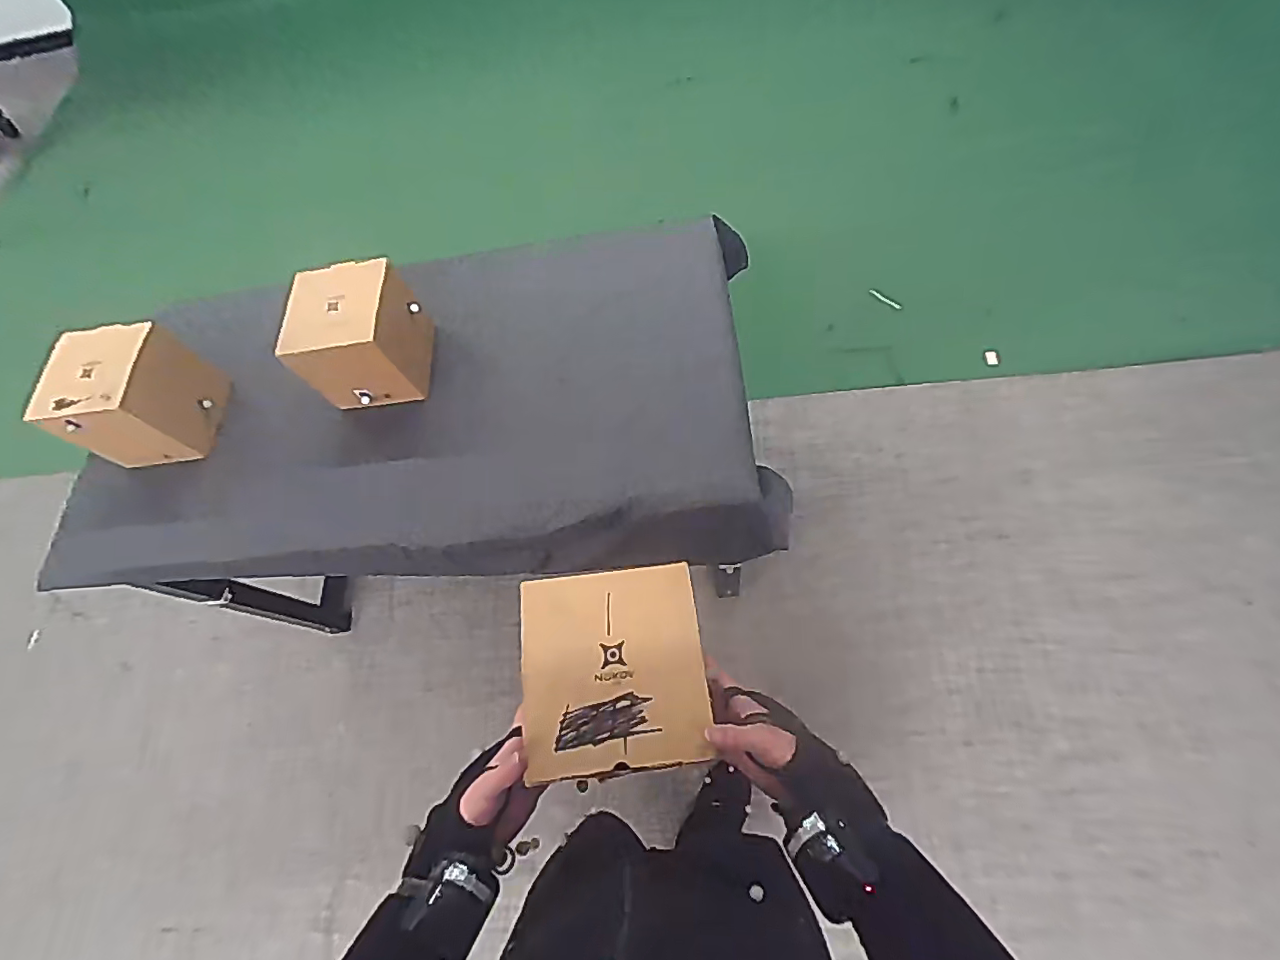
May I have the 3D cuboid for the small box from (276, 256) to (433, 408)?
[{"bbox_3d":[-0.475,-0.248,0.929,0.168,0.176,0.179,-7,67,6],"label":"small box"}]

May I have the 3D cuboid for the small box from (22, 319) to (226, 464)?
[{"bbox_3d":[-0.870,-0.148,0.936,0.168,0.176,0.179,-7,65,5],"label":"small box"}]

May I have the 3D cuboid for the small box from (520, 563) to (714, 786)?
[{"bbox_3d":[-0.023,0.201,0.556,0.168,0.176,0.179,-7,63,-2],"label":"small box"}]
